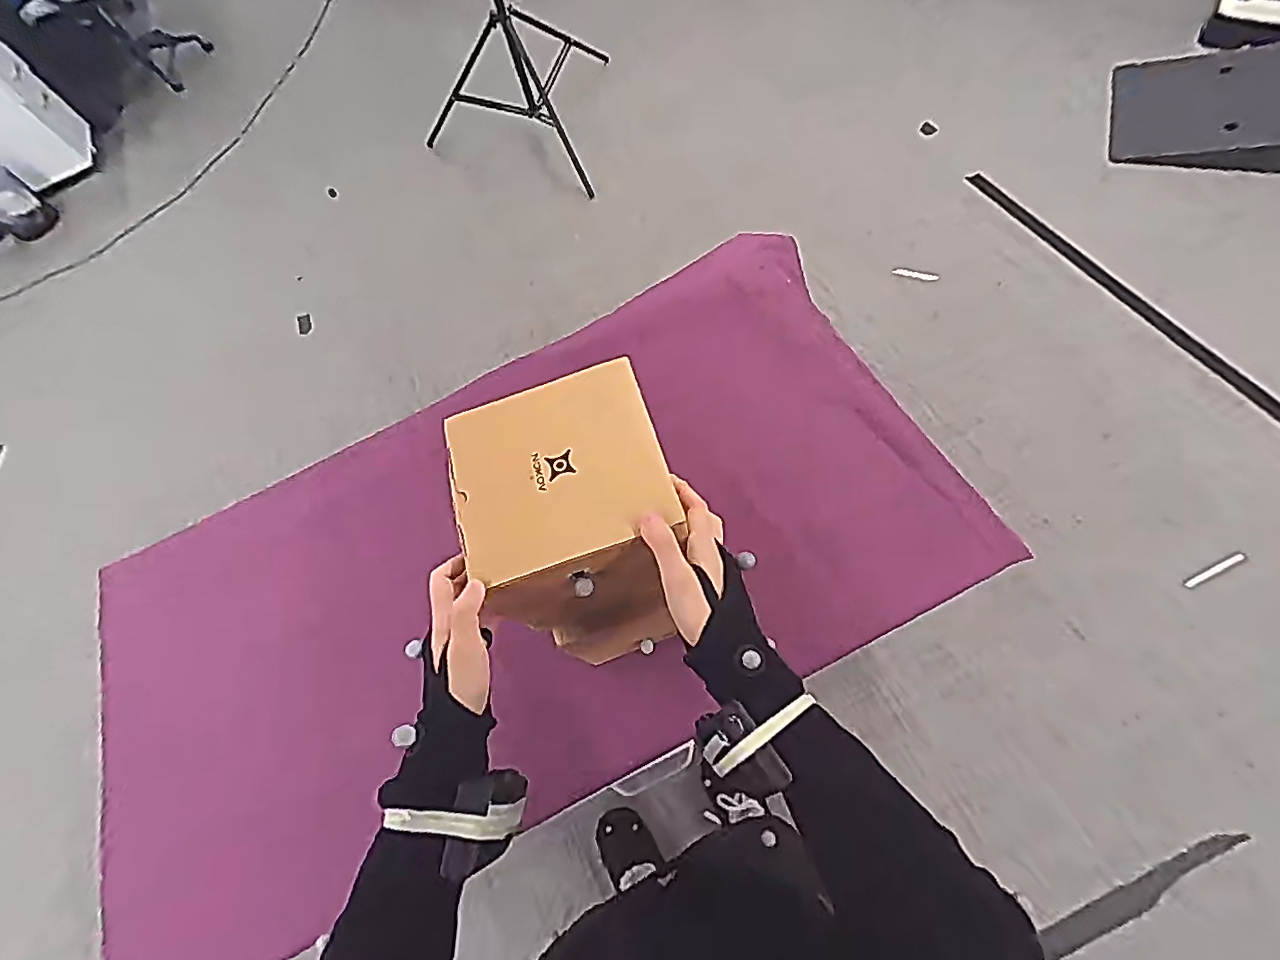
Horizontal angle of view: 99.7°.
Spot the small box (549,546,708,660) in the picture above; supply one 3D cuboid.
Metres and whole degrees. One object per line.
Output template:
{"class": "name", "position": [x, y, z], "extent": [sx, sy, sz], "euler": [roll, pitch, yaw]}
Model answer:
{"class": "small box", "position": [-0.024, 0.102, 0.656], "extent": [0.168, 0.176, 0.179], "euler": [-21, 64, 1]}

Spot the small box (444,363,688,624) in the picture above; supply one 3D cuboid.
{"class": "small box", "position": [-0.058, 0.024, 0.517], "extent": [0.179, 0.176, 0.168], "euler": [-19, 64, 2]}
